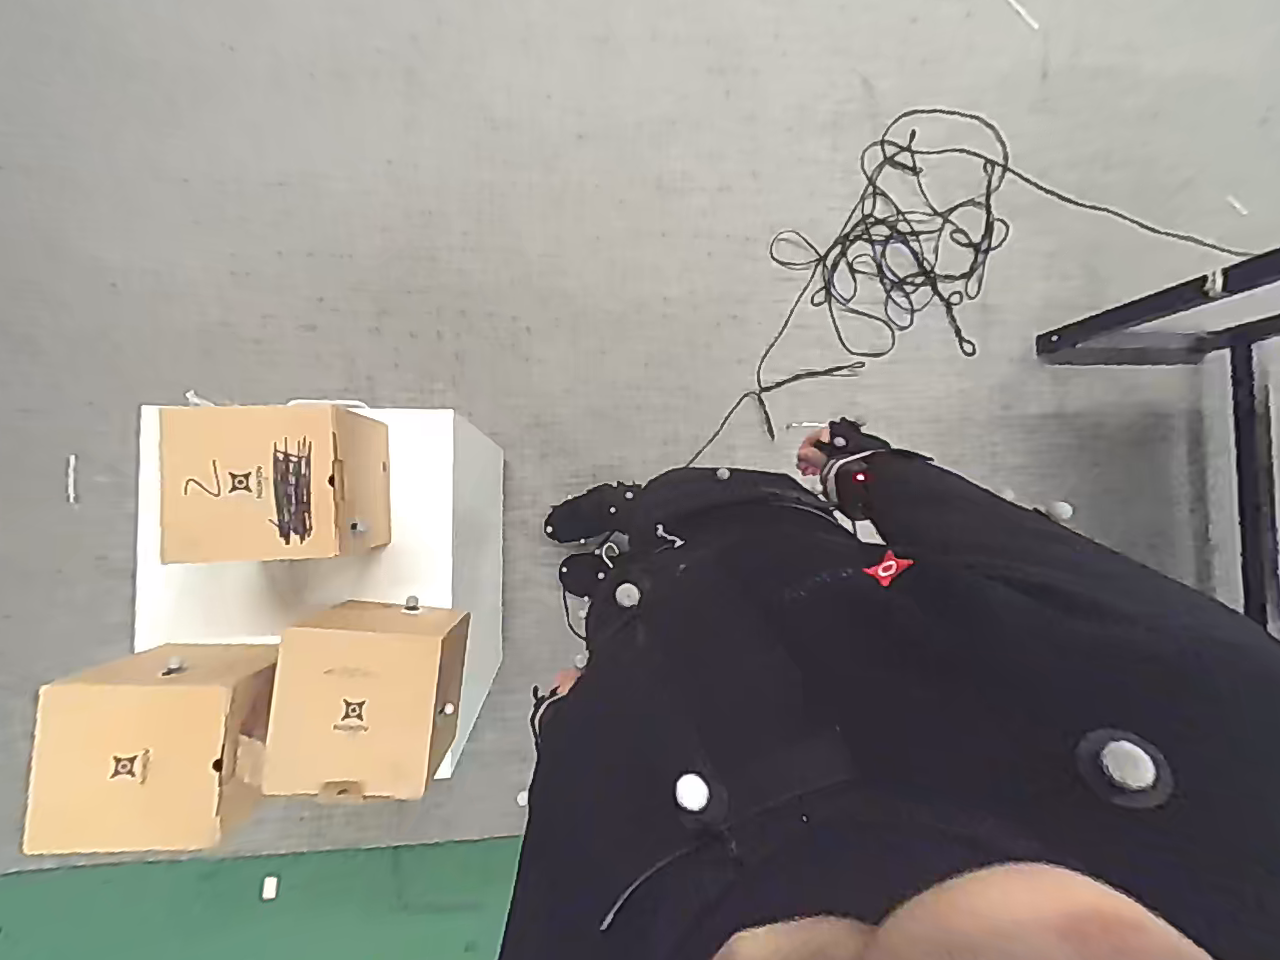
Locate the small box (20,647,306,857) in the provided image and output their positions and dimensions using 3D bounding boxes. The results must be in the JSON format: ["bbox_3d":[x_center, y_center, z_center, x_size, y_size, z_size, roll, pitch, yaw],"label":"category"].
[{"bbox_3d":[-0.520,0.294,0.618,0.179,0.176,0.168,3,86,-8],"label":"small box"}]
